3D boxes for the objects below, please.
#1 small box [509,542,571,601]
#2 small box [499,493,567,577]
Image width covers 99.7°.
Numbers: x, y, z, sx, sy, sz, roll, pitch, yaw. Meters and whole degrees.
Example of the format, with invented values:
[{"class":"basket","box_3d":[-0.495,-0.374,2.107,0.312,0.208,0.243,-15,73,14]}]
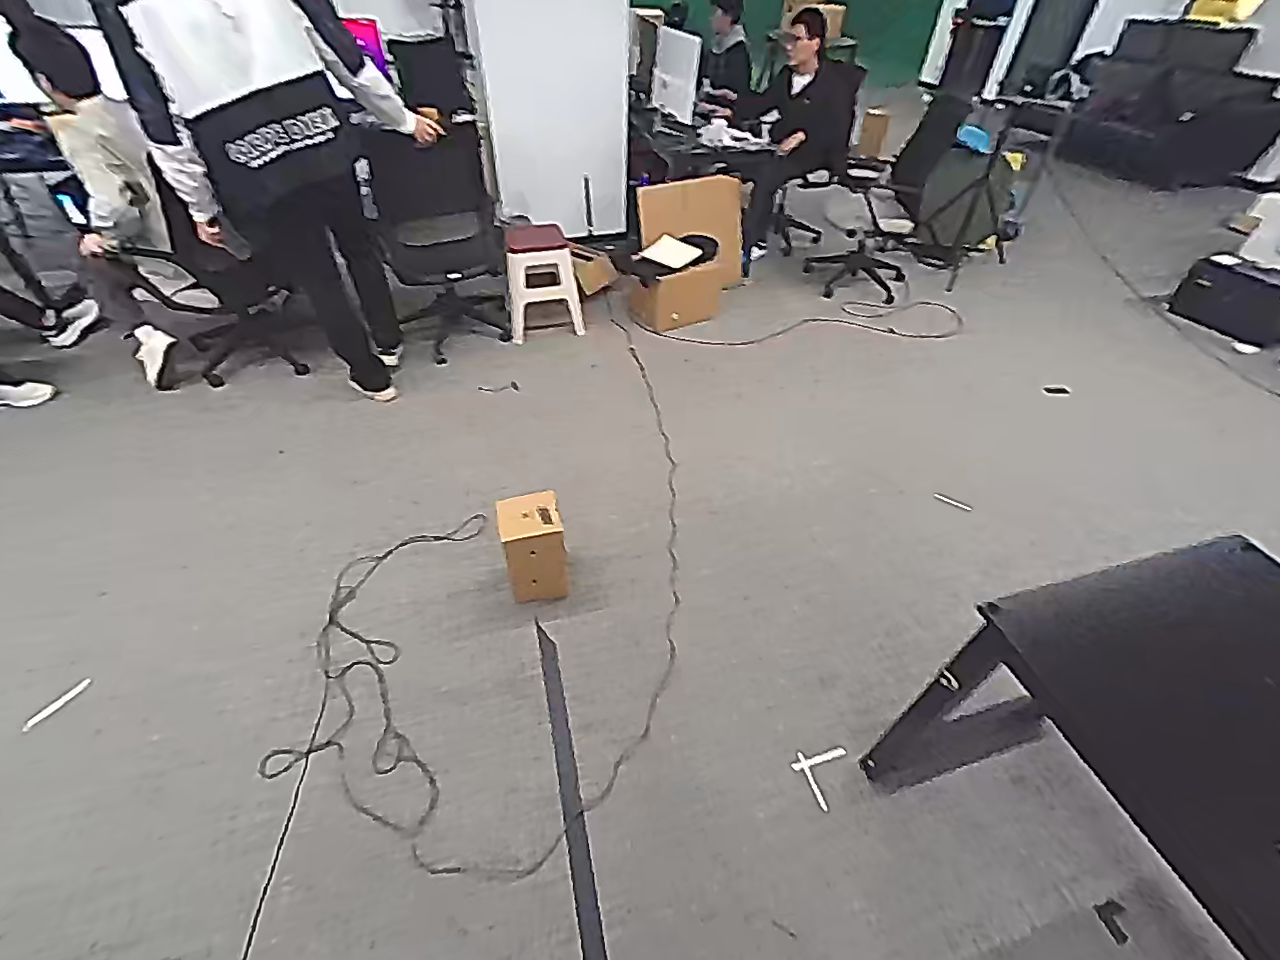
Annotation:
[{"class":"small box","box_3d":[-0.320,0.275,1.743,0.179,0.176,0.168,-6,45,-7]},{"class":"small box","box_3d":[-0.318,0.166,1.618,0.179,0.176,0.168,-11,45,-12]}]
